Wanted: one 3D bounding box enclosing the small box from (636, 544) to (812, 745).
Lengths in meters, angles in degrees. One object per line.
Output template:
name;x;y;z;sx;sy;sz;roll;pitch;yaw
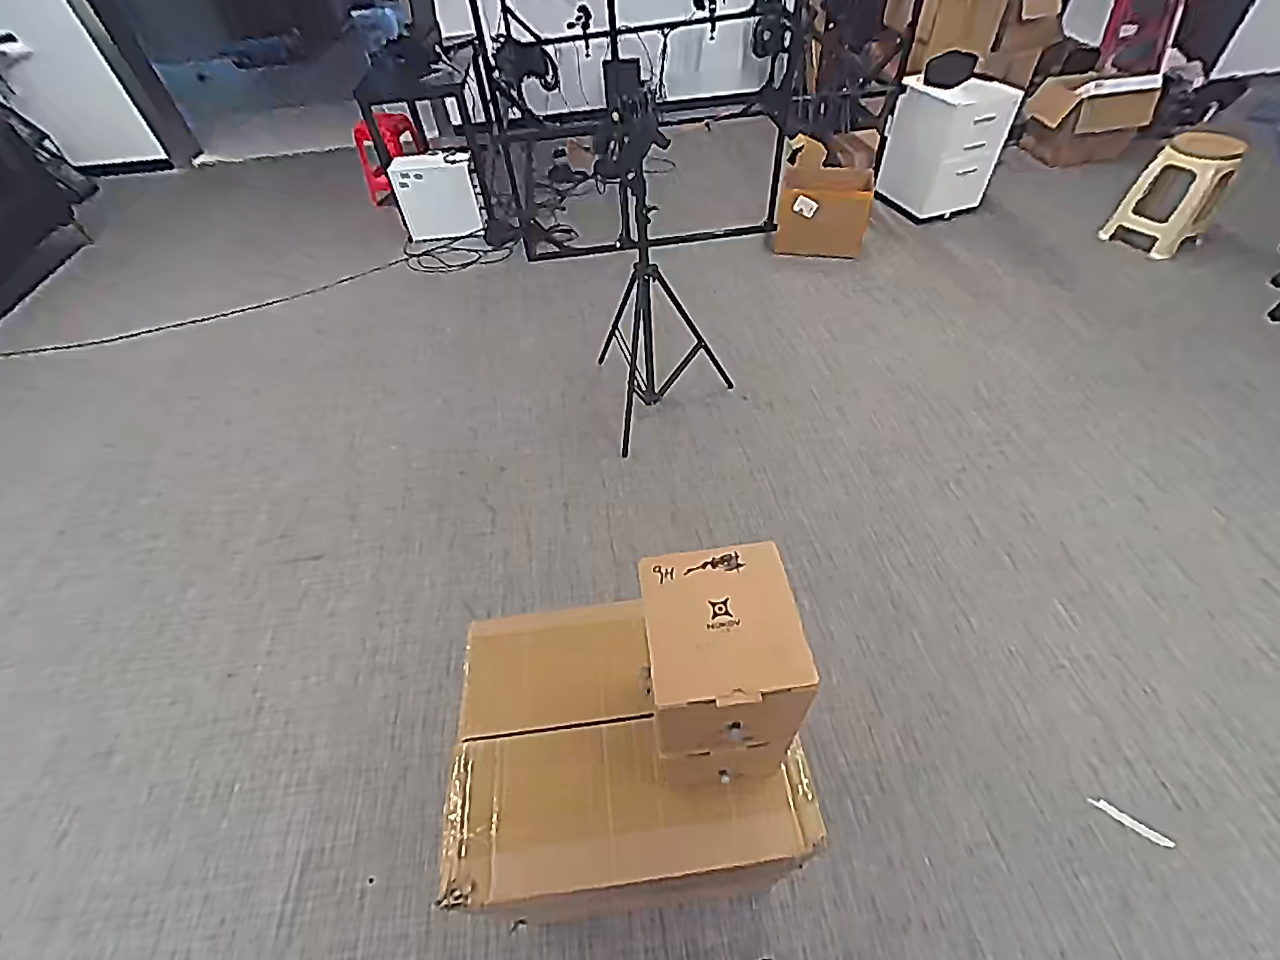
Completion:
small box;0.090;0.202;0.646;0.168;0.176;0.179;-7;50;-1

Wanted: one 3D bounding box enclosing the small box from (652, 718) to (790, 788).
small box;0.098;0.312;0.768;0.168;0.176;0.179;-9;49;-1
